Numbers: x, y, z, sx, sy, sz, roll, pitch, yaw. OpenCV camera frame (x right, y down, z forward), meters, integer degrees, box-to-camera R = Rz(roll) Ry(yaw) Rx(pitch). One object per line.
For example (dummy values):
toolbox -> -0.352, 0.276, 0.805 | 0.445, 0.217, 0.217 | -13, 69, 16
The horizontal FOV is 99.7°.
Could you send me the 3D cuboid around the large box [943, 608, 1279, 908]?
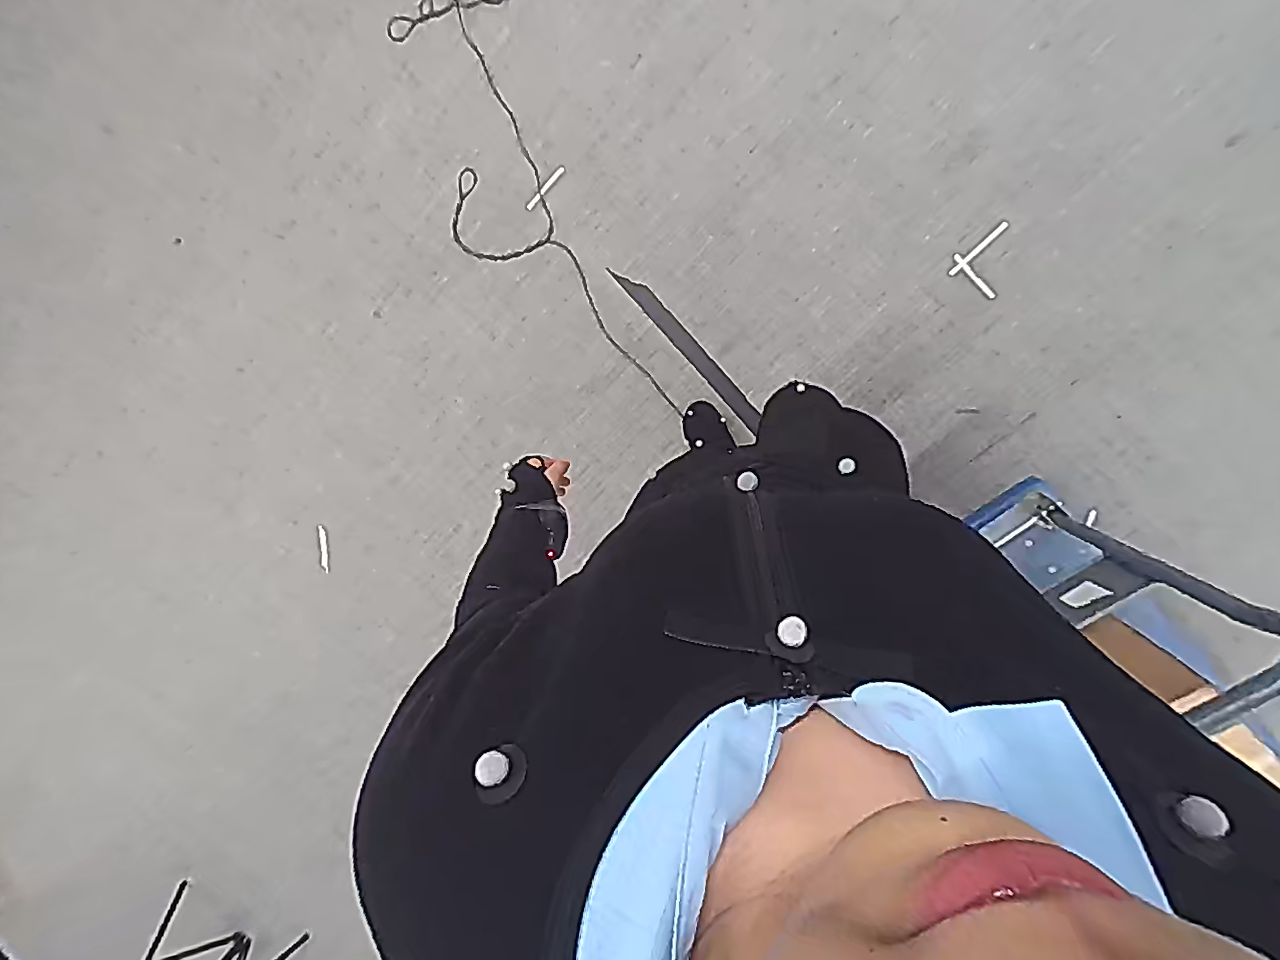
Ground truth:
large box -> 0.933, 0.539, 1.102 | 0.408, 0.320, 0.320 | -40, 92, 15
